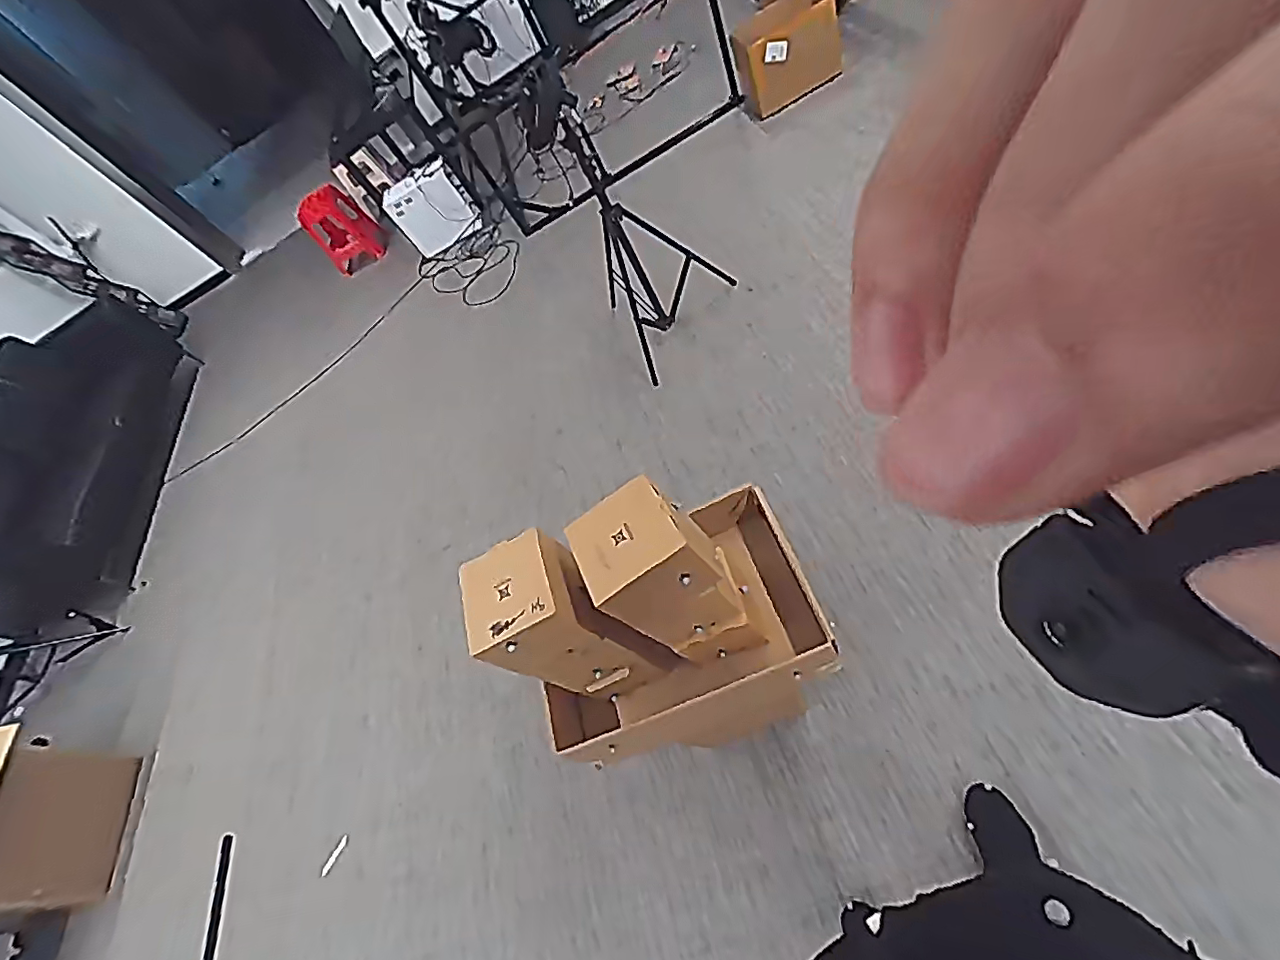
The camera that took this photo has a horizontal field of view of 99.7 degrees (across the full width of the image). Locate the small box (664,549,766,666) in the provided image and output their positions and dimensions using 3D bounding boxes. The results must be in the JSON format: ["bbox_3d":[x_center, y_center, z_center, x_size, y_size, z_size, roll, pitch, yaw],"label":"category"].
[{"bbox_3d":[0.152,0.280,1.171,0.168,0.176,0.179,-27,53,14],"label":"small box"}]

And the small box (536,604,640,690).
[{"bbox_3d":[-0.122,0.298,1.089,0.168,0.176,0.179,-29,53,9],"label":"small box"}]

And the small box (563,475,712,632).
[{"bbox_3d":[0.004,0.129,0.919,0.179,0.176,0.168,-36,50,6],"label":"small box"}]

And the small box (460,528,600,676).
[{"bbox_3d":[-0.194,0.222,0.961,0.168,0.176,0.179,-30,51,10],"label":"small box"}]
